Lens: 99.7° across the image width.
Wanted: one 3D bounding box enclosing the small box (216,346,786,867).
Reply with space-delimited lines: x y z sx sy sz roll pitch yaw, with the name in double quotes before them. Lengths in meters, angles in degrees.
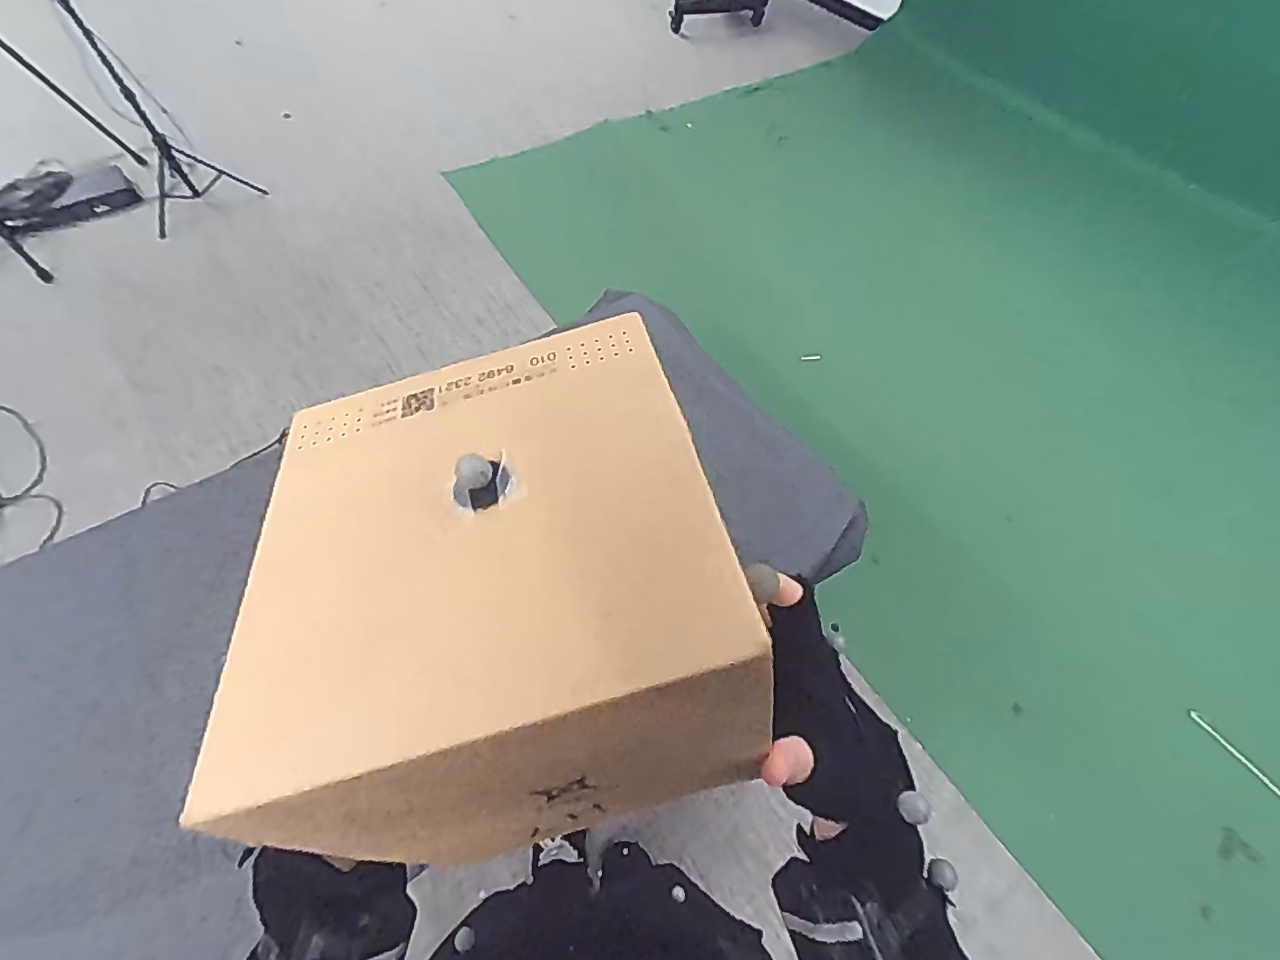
"small box" -0.042 0.057 0.261 0.168 0.179 0.176 -16 50 -1
